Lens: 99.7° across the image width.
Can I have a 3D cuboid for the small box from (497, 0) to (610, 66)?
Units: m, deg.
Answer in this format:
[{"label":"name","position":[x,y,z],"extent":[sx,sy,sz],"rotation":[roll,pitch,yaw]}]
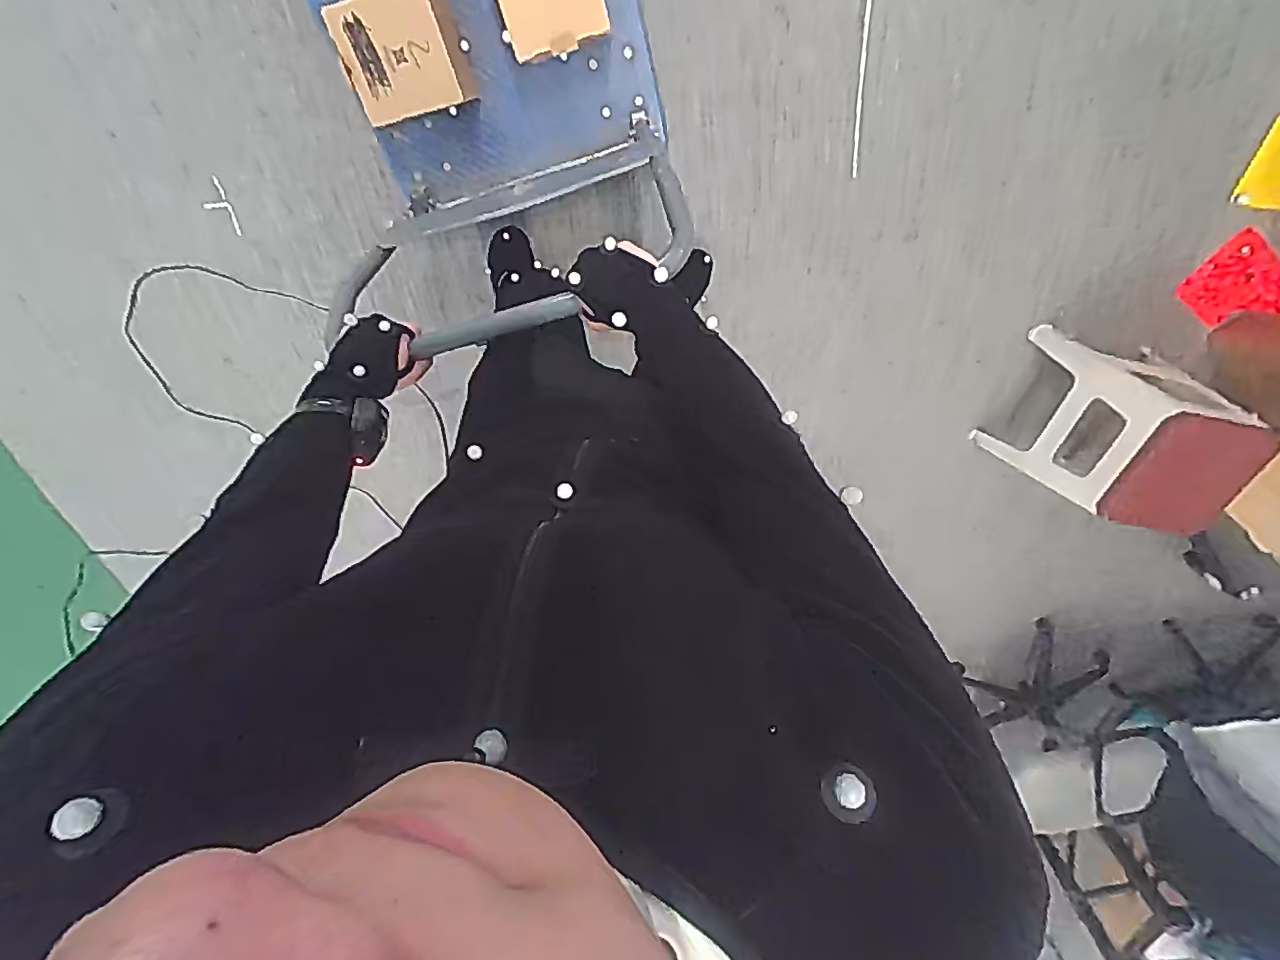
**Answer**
[{"label":"small box","position":[-0.155,-0.828,0.913],"extent":[0.168,0.176,0.179],"rotation":[-14,128,7]}]
